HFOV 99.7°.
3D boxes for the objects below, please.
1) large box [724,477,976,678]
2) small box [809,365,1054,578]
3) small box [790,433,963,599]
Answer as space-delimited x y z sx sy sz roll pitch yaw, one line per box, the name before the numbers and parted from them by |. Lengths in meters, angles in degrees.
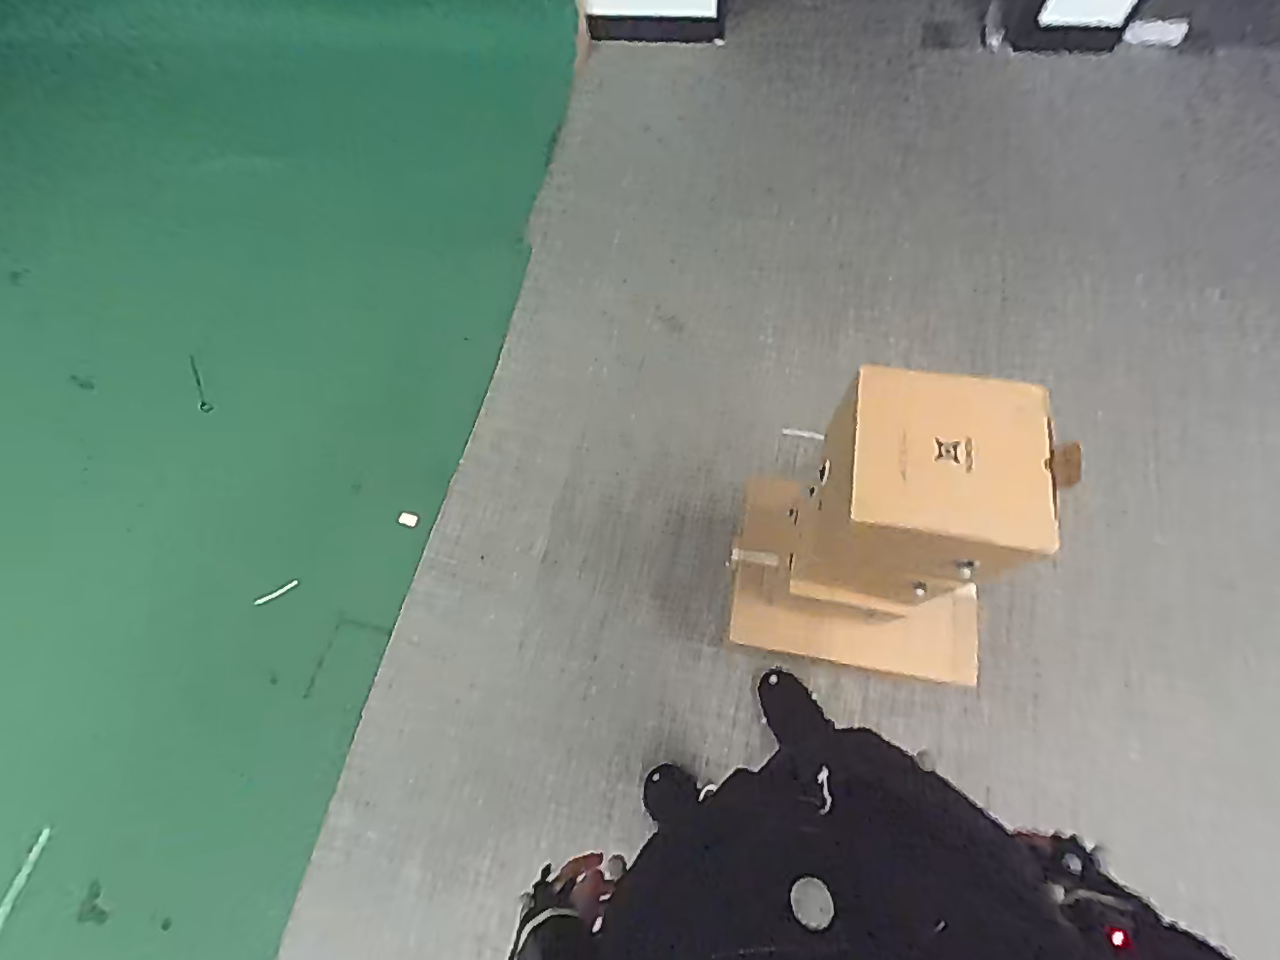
large box | 0.390 0.209 1.096 0.408 0.320 0.320 8 72 8
small box | 0.291 0.001 0.574 0.179 0.176 0.168 8 70 9
small box | 0.310 0.054 0.727 0.179 0.176 0.168 12 72 10
